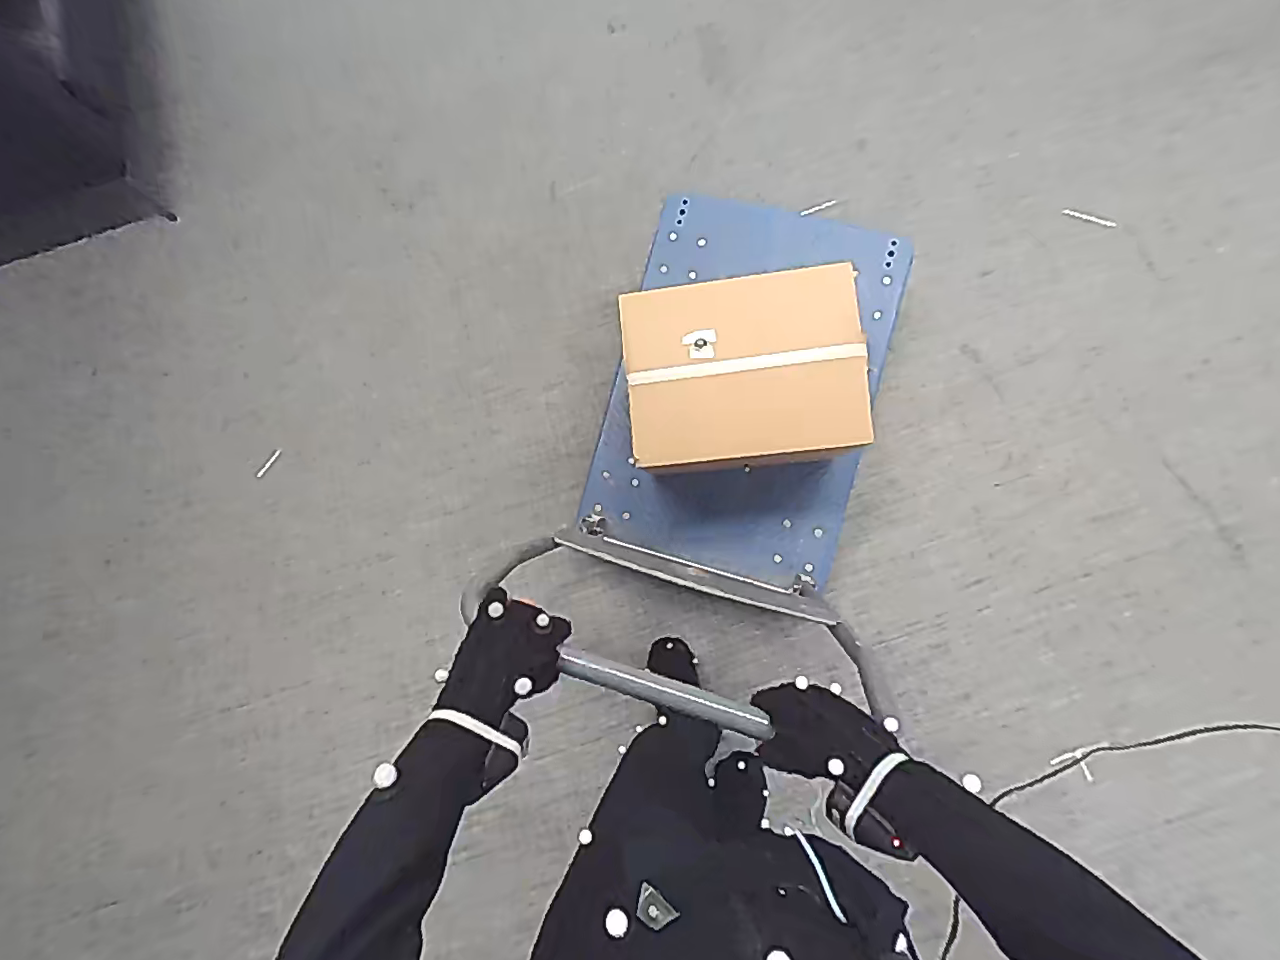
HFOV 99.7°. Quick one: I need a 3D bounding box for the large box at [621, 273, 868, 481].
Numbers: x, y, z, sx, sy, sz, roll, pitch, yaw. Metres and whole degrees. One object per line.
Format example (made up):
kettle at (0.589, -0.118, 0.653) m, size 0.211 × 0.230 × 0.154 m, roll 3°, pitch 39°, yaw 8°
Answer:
large box at (0.198, -0.177, 1.094) m, size 0.408 × 0.320 × 0.320 m, roll -6°, pitch 85°, yaw 8°
